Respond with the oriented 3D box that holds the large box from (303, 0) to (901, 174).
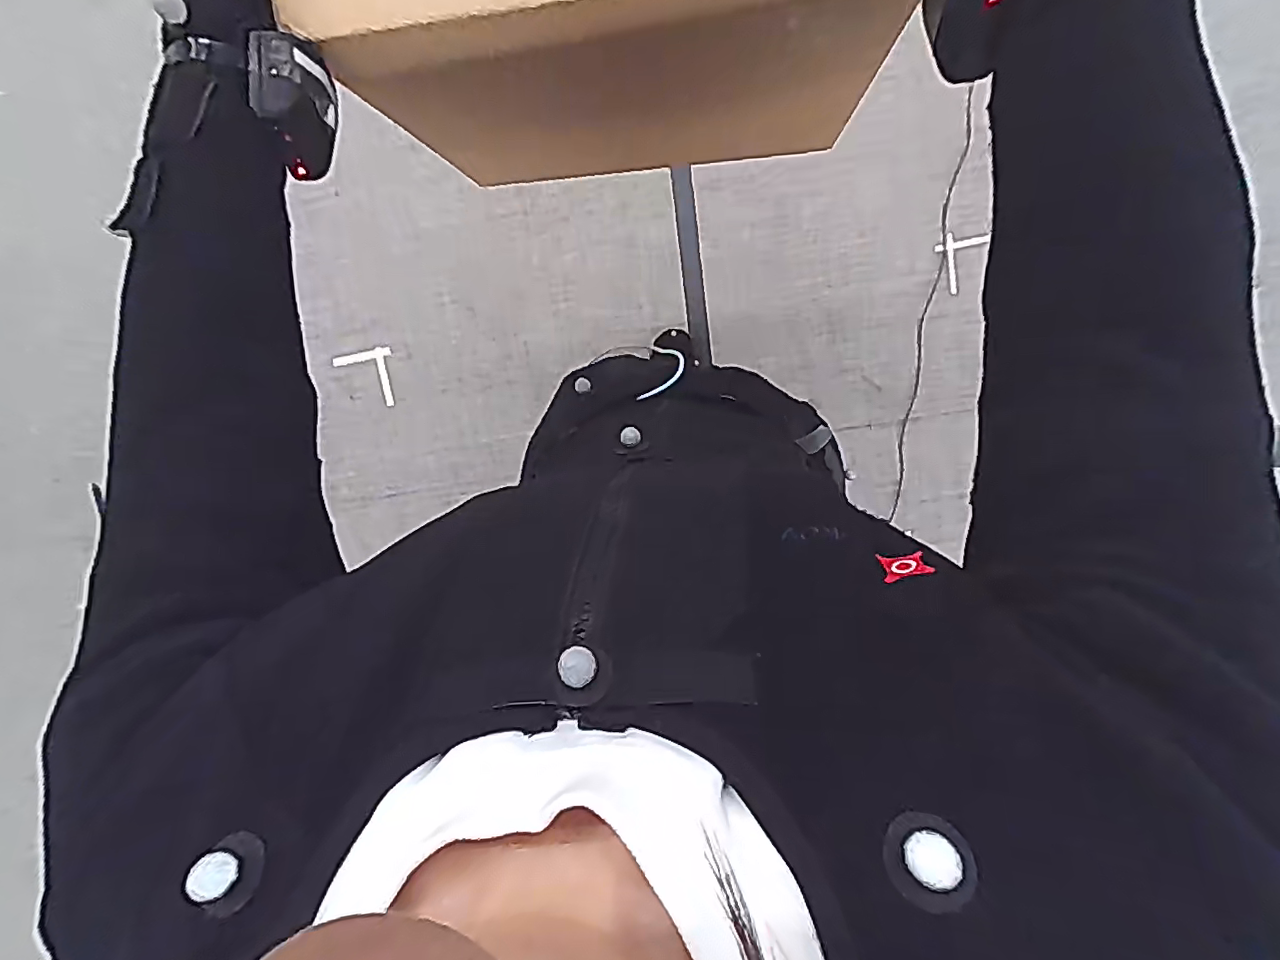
[{"bbox_3d":[-0.017,-0.483,0.436,0.408,0.320,0.320,-3,104,7],"label":"large box"}]
